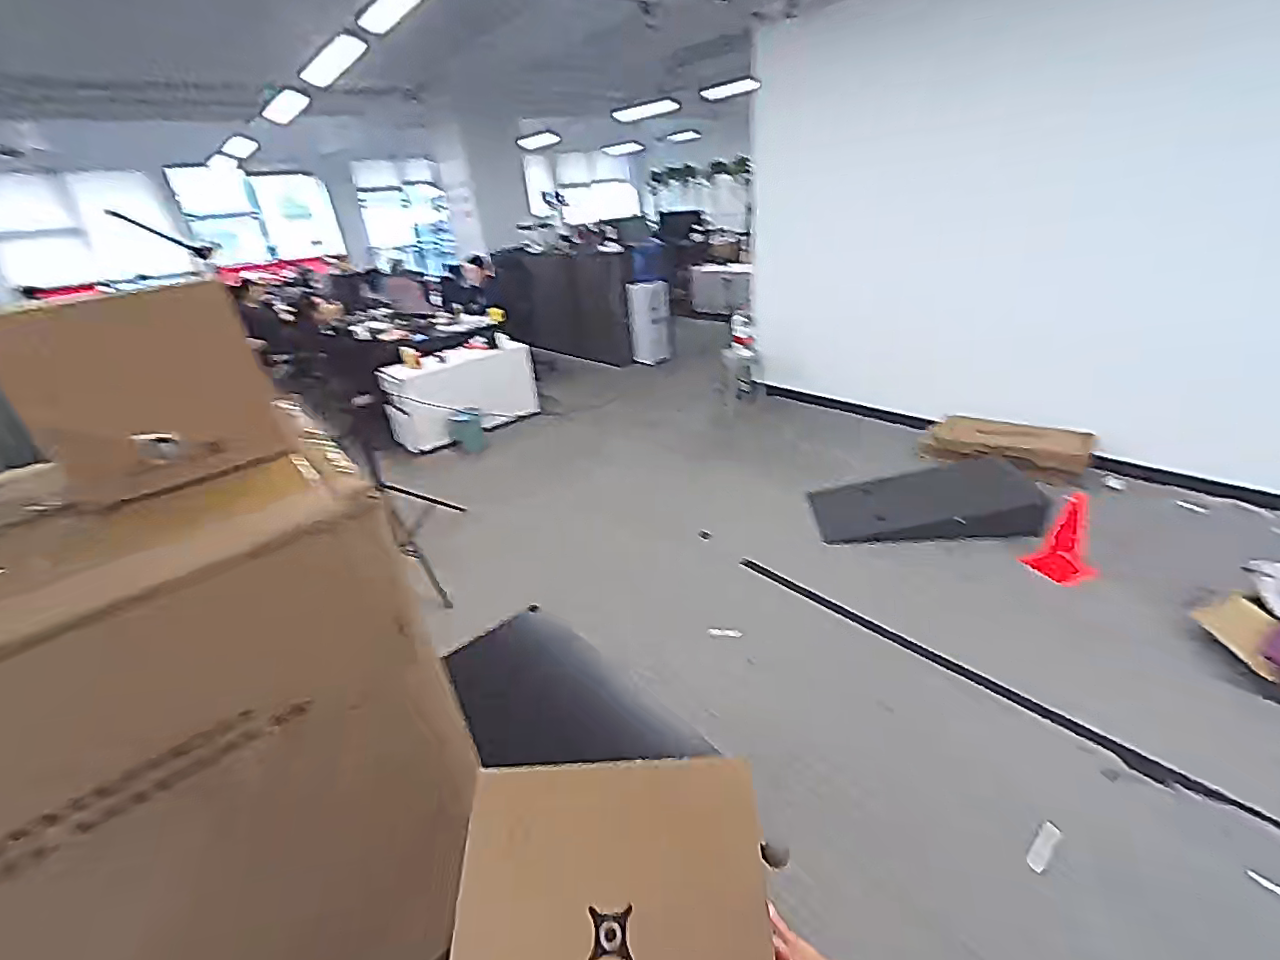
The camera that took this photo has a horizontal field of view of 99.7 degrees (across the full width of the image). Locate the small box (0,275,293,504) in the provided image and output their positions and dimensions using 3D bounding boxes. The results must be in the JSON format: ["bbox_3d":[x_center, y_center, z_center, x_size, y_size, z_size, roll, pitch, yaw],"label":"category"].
[{"bbox_3d":[-0.472,-0.096,0.528,0.168,0.176,0.179,-27,33,-31],"label":"small box"}]
